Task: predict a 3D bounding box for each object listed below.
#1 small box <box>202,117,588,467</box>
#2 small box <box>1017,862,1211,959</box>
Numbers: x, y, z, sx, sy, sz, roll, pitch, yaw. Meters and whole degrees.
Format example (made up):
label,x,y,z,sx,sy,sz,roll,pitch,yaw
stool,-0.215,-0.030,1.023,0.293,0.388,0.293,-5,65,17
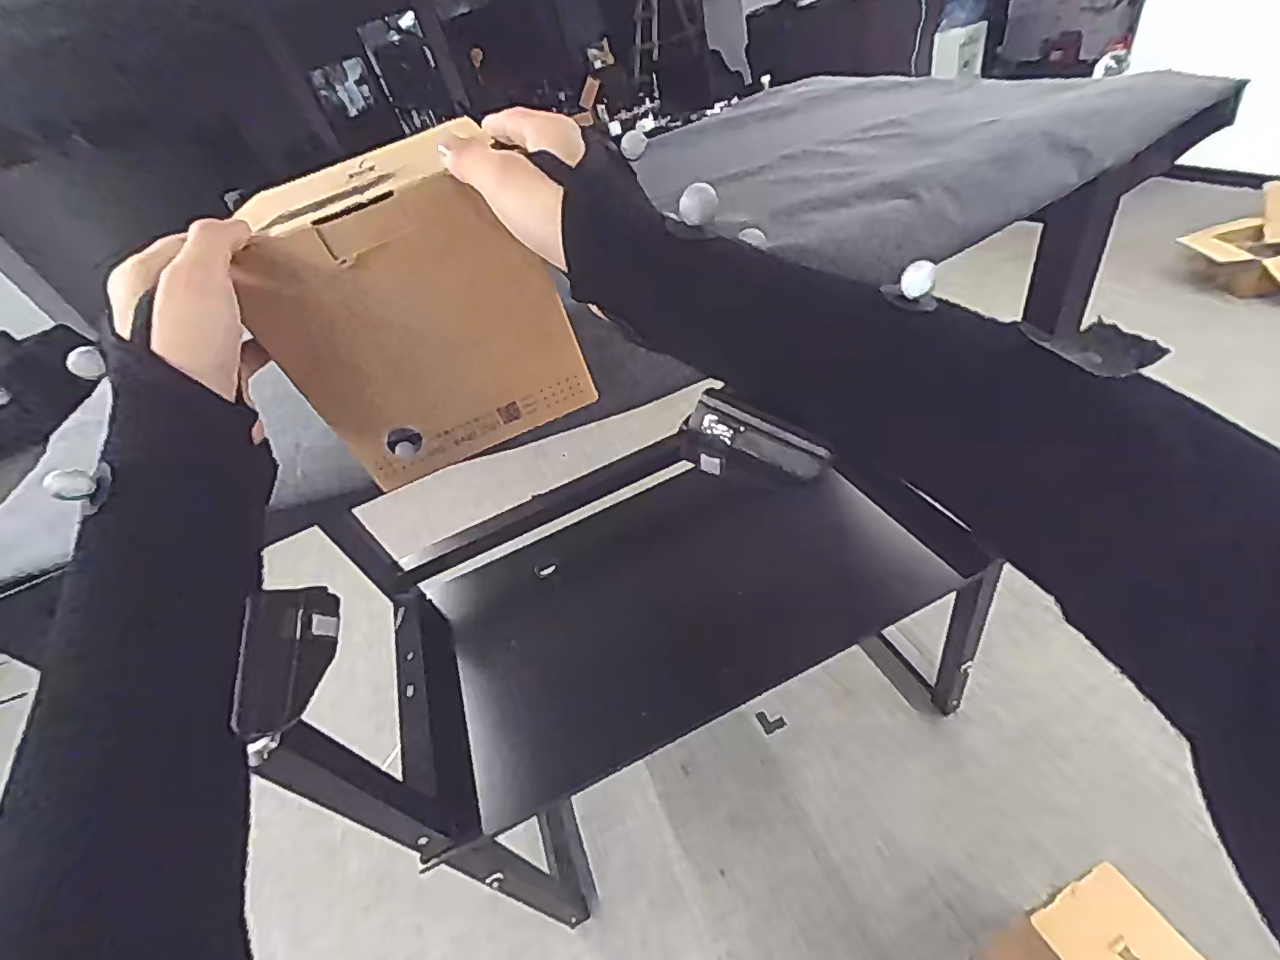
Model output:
label,x,y,z,sx,sy,sz,roll,pitch,yaw
small box,-0.153,-0.130,0.391,0.168,0.176,0.179,-25,42,-4
small box,0.731,0.740,0.833,0.168,0.176,0.179,-28,42,-9
